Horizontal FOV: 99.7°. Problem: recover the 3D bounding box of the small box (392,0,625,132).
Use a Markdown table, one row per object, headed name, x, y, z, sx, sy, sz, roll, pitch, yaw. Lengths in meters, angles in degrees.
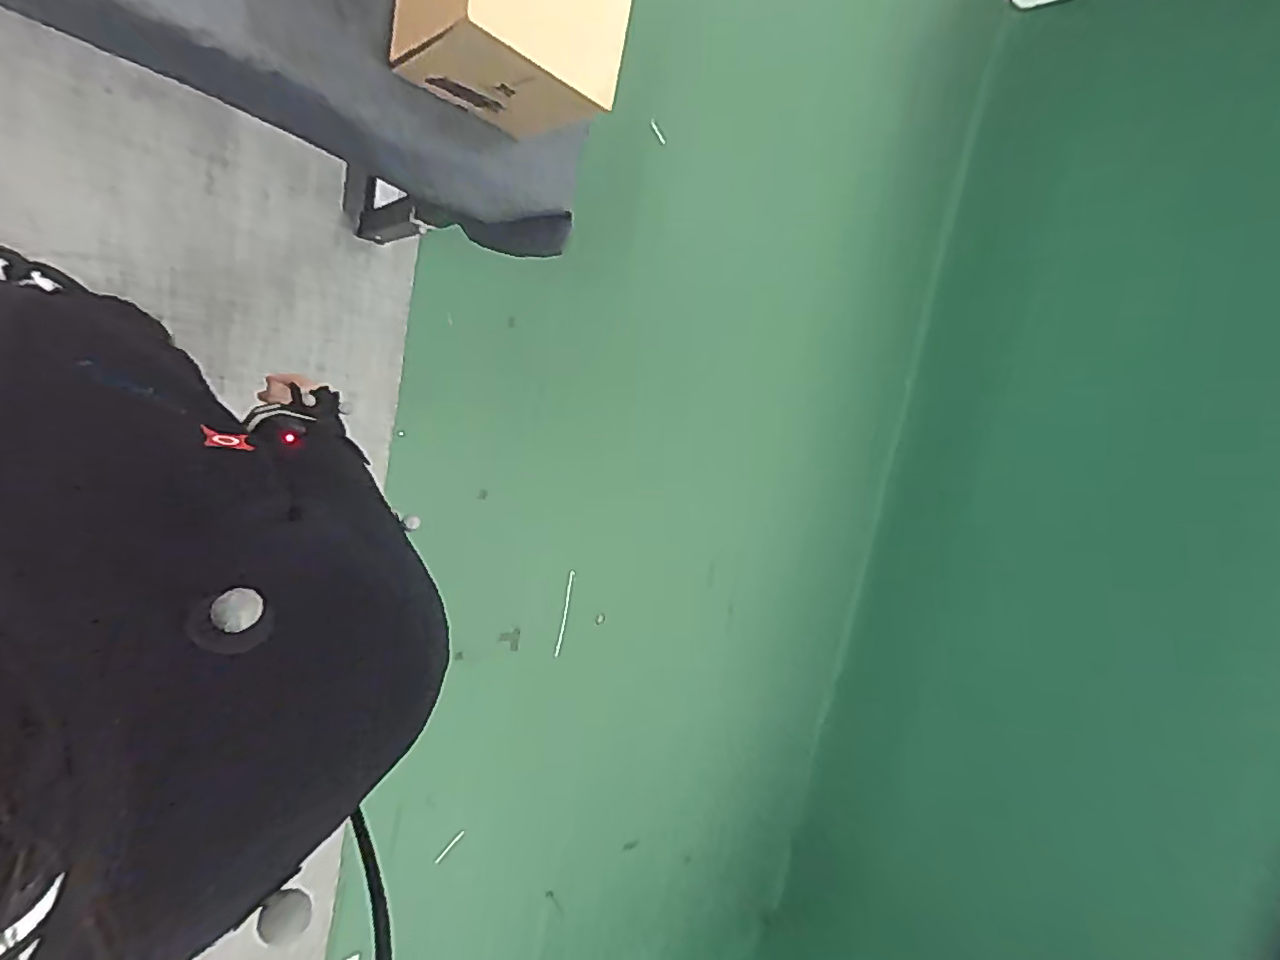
| name | x | y | z | sx | sy | sz | roll | pitch | yaw |
| --- | --- | --- | --- | --- | --- | --- | --- | --- | --- |
| small box | -0.126 | -0.490 | 0.544 | 0.168 | 0.179 | 0.176 | -1 | 107 | -45 |
